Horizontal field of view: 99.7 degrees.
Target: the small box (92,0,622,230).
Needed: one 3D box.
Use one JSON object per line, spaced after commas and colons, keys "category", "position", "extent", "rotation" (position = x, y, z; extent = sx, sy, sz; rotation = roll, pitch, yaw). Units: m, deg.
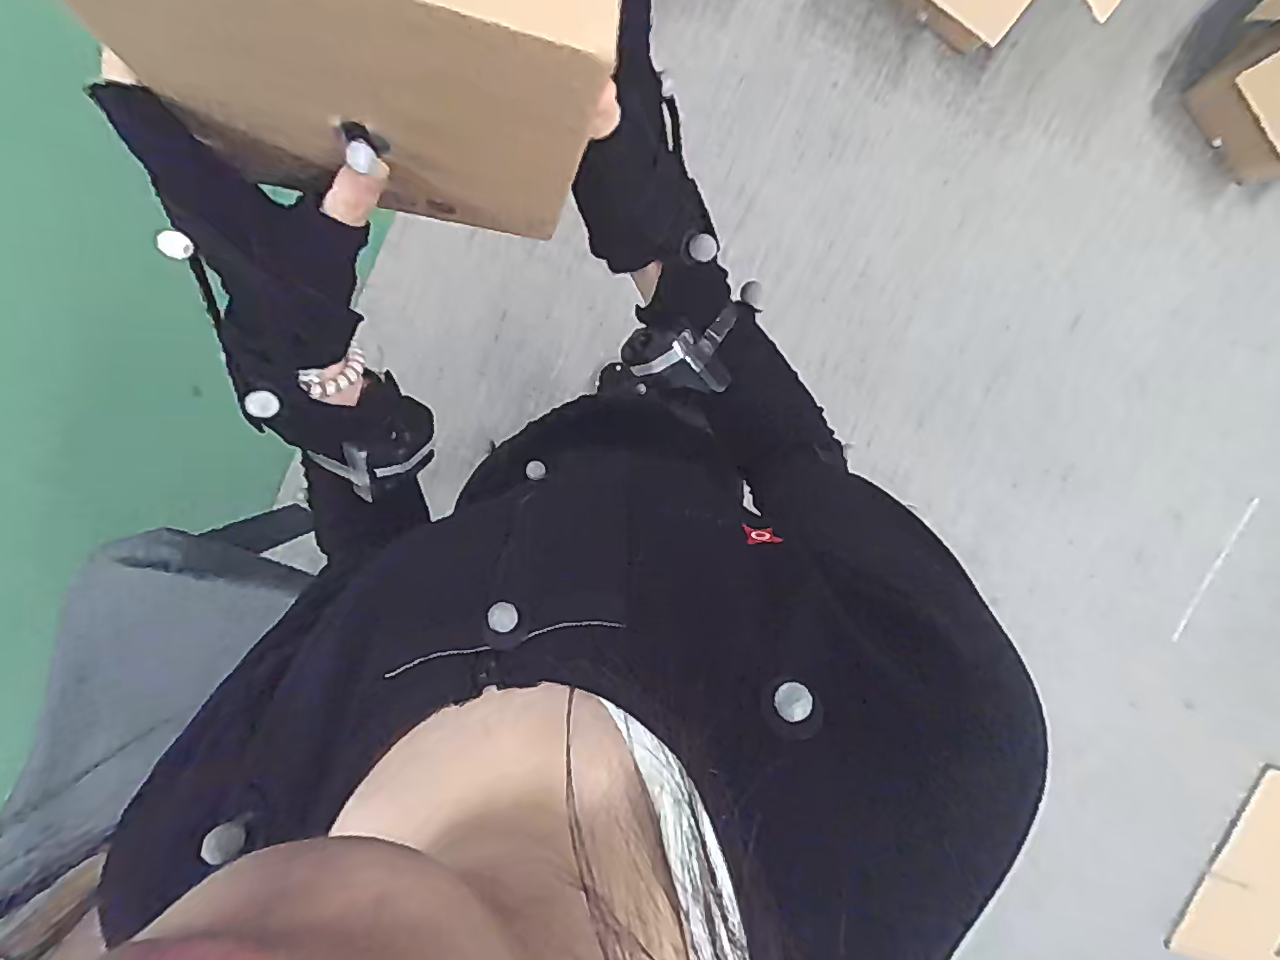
{"category": "small box", "position": [-0.098, -0.230, 0.226], "extent": [0.168, 0.176, 0.179], "rotation": [4, 93, -17]}
